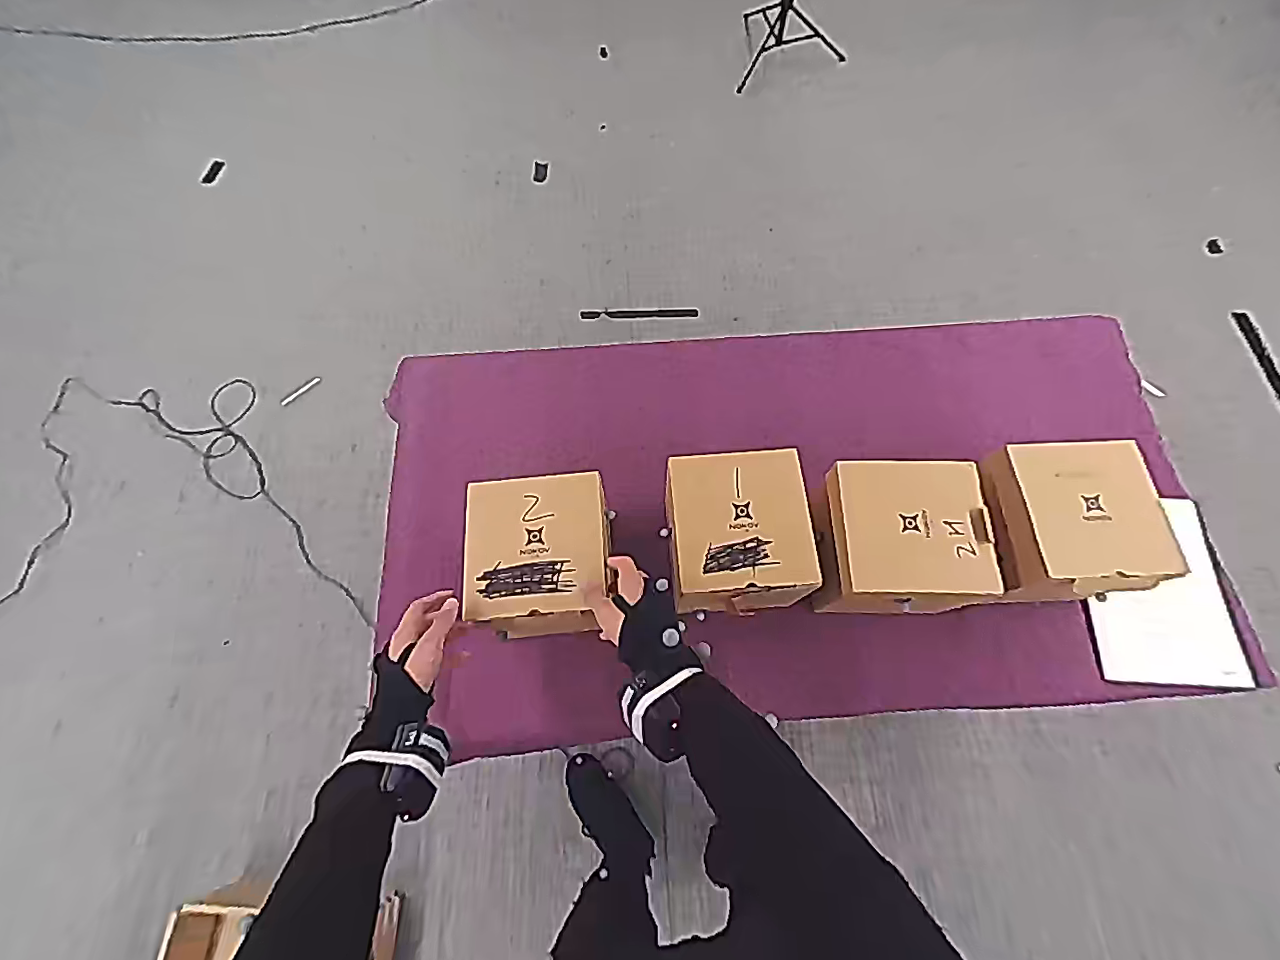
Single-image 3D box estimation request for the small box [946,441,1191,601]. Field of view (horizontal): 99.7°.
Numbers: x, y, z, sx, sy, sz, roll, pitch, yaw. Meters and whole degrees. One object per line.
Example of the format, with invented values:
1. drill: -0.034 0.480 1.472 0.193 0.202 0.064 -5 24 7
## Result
1. small box: 0.545 0.063 0.719 0.168 0.176 0.179 -2 68 0
